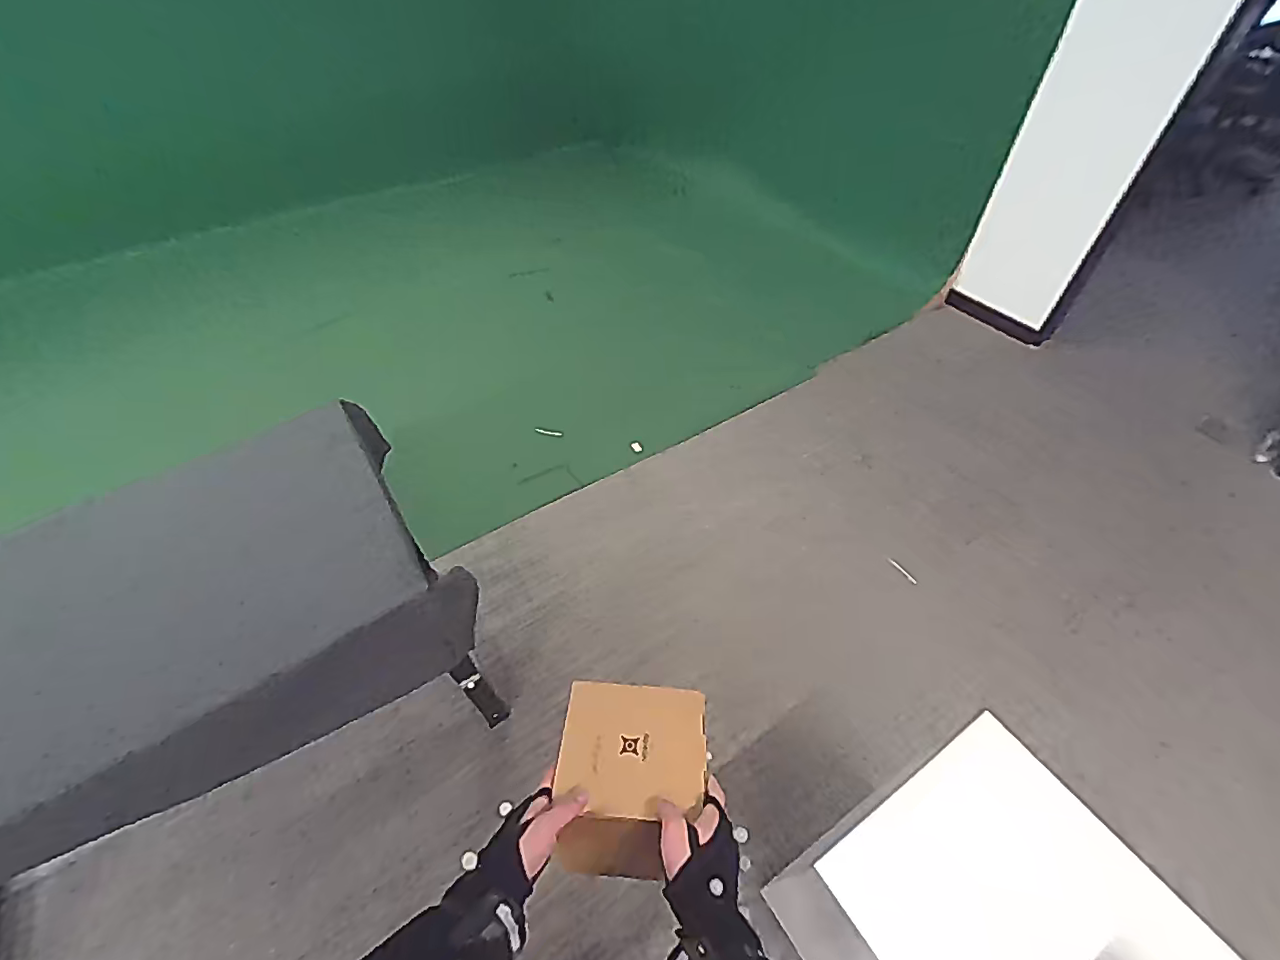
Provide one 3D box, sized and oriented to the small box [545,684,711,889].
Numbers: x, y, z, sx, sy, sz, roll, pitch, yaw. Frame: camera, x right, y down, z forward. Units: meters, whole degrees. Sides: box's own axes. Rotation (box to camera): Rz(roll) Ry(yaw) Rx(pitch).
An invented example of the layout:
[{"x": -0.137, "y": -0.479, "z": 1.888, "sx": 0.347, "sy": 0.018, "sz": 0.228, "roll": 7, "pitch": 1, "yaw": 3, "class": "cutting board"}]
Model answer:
[{"x": -0.013, "y": 0.379, "z": 0.673, "sx": 0.179, "sy": 0.176, "sz": 0.168, "roll": 2, "pitch": 33, "yaw": 0, "class": "small box"}]
